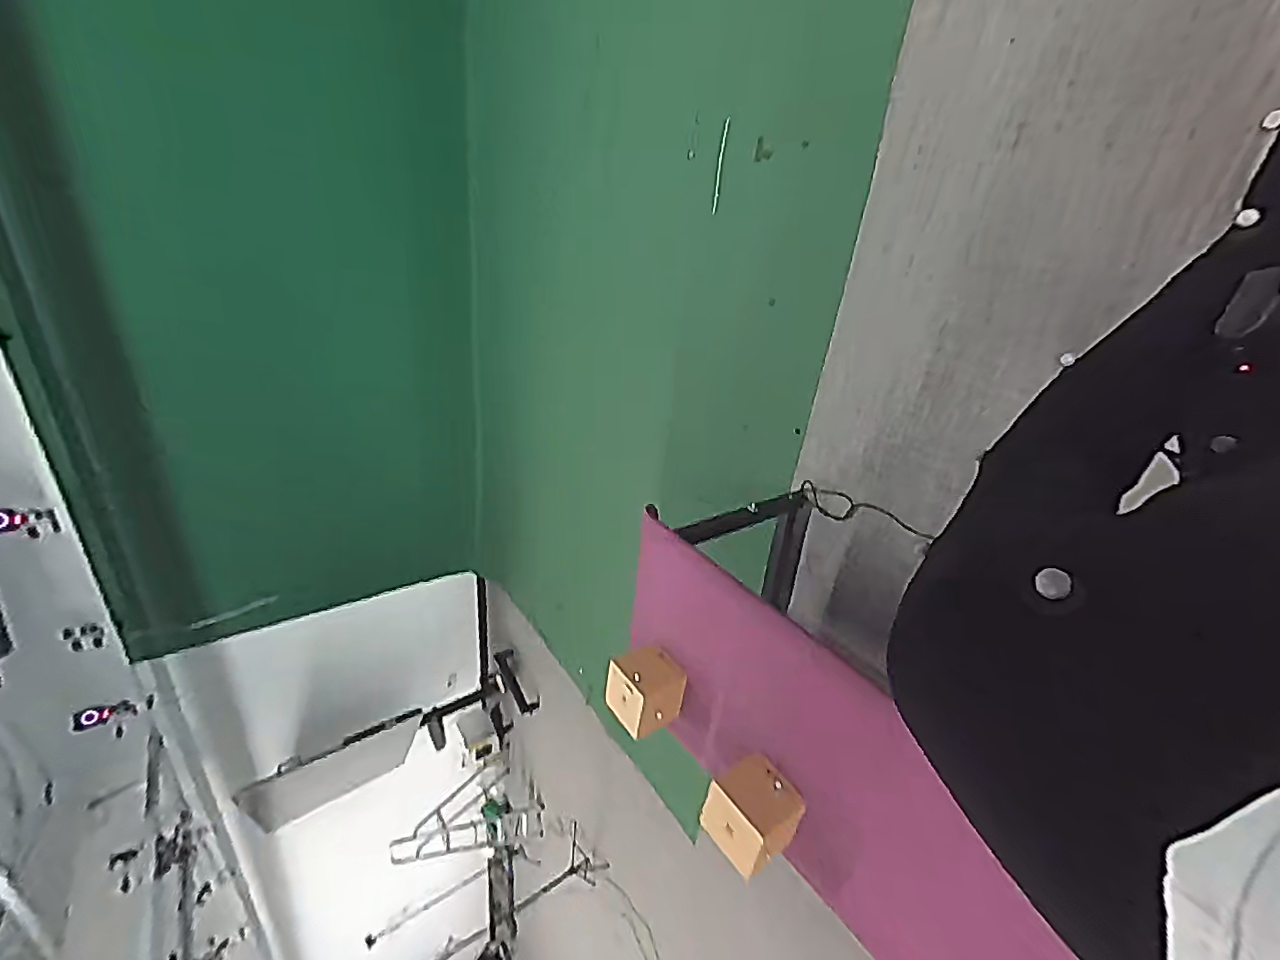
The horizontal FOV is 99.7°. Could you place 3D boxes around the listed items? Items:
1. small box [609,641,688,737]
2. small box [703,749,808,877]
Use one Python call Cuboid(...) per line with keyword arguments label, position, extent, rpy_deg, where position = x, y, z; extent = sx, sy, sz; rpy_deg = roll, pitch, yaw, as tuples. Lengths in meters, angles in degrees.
Cuboid(label="small box", position=(0.024, 0.621, 1.625), extent=(0.168, 0.176, 0.179), rpy_deg=(35, 127, 43))
Cuboid(label="small box", position=(0.284, 0.811, 1.330), extent=(0.168, 0.176, 0.179), rpy_deg=(37, 128, 42))
